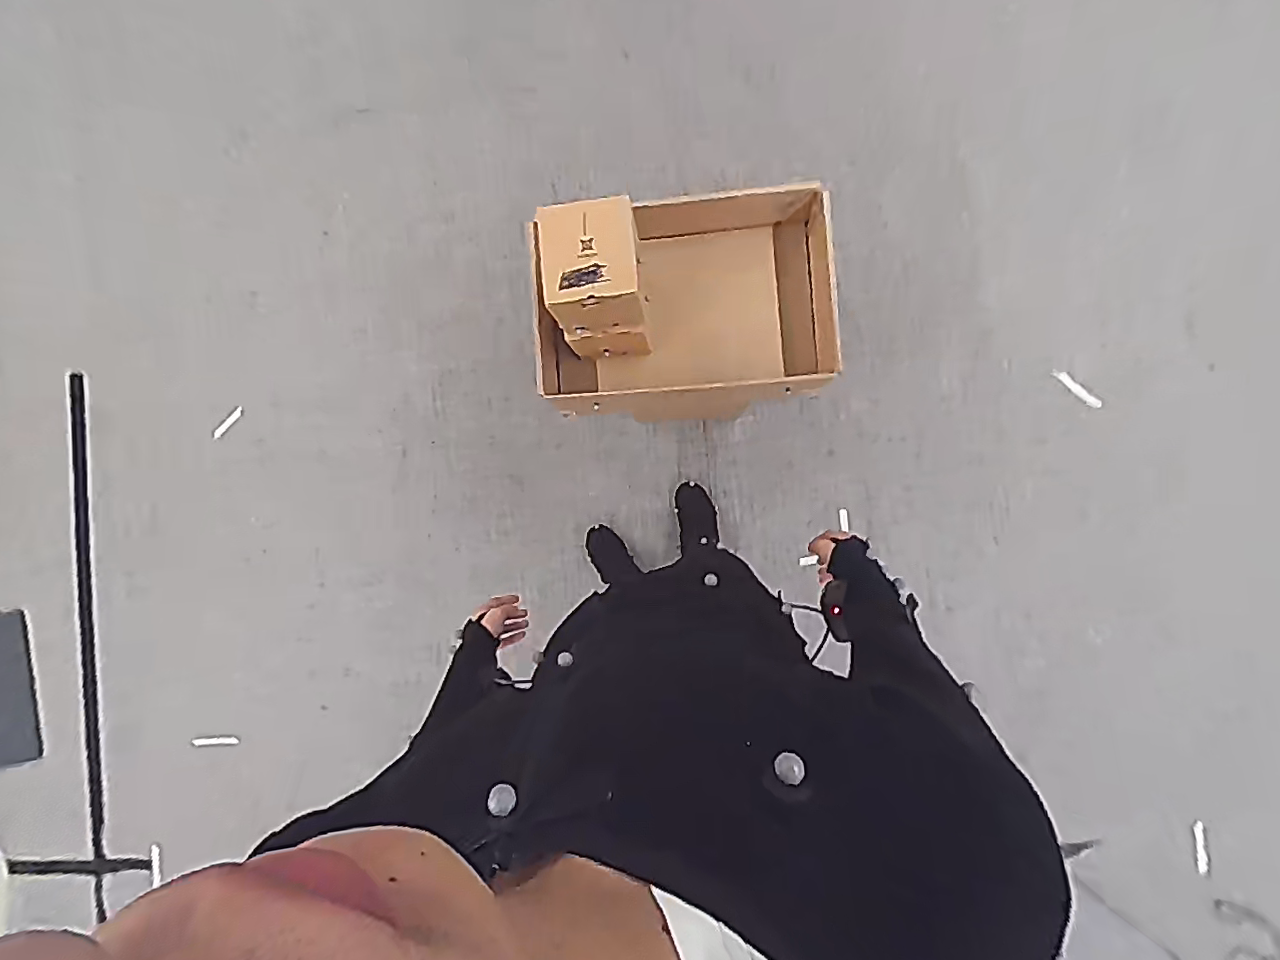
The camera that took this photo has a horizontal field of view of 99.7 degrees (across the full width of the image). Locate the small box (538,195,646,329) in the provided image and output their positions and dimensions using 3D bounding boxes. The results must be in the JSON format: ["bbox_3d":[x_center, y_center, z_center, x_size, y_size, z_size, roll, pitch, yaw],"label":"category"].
[{"bbox_3d":[-0.081,-0.389,1.000,0.168,0.176,0.179,-5,88,5],"label":"small box"}]

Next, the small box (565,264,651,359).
[{"bbox_3d":[-0.069,-0.373,1.163,0.168,0.176,0.179,-5,89,5],"label":"small box"}]
